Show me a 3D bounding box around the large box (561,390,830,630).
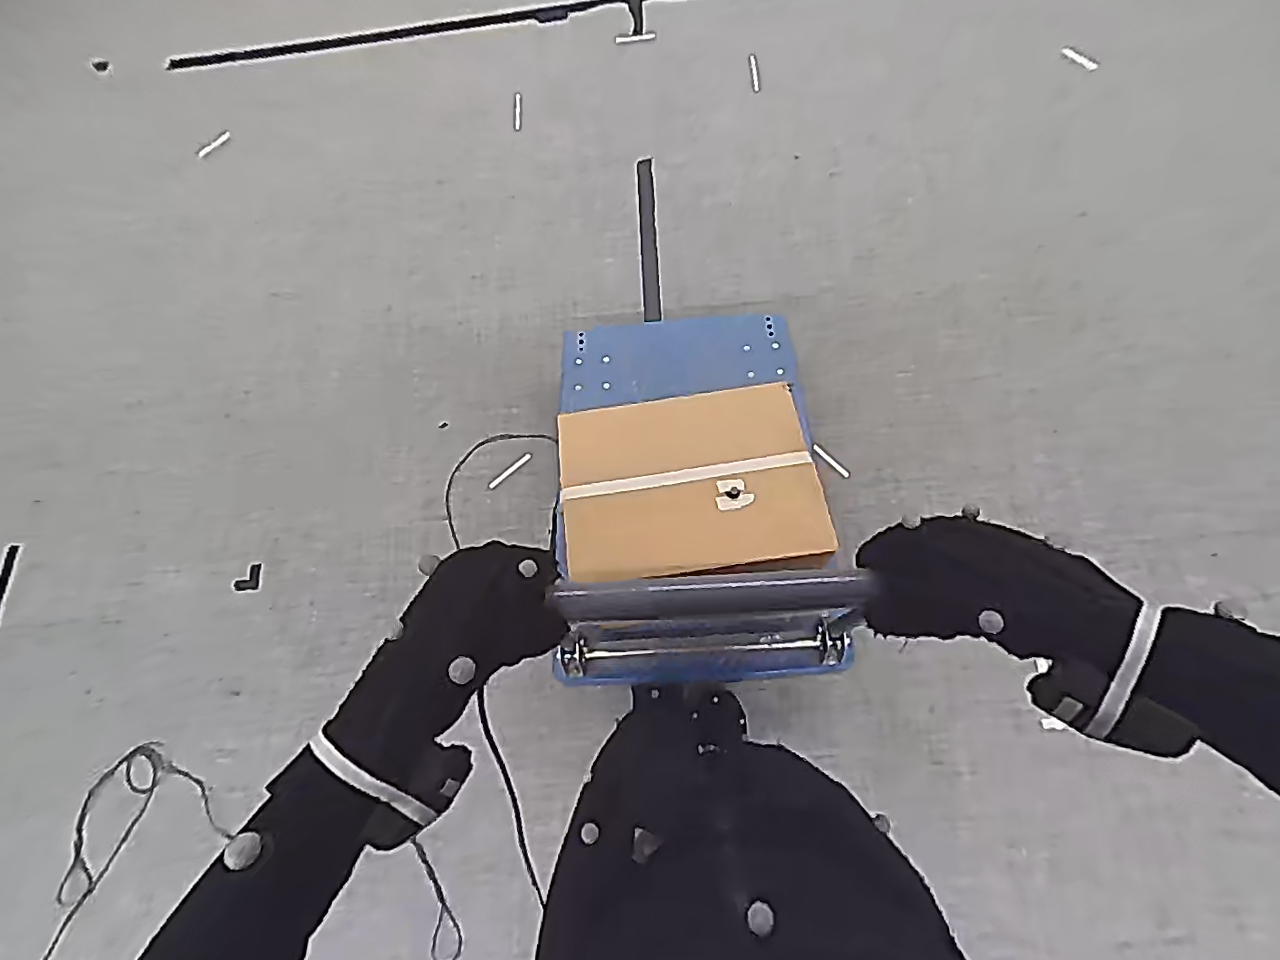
[{"bbox_3d":[0.084,0.072,1.020,0.408,0.320,0.320,-8,64,0],"label":"large box"}]
